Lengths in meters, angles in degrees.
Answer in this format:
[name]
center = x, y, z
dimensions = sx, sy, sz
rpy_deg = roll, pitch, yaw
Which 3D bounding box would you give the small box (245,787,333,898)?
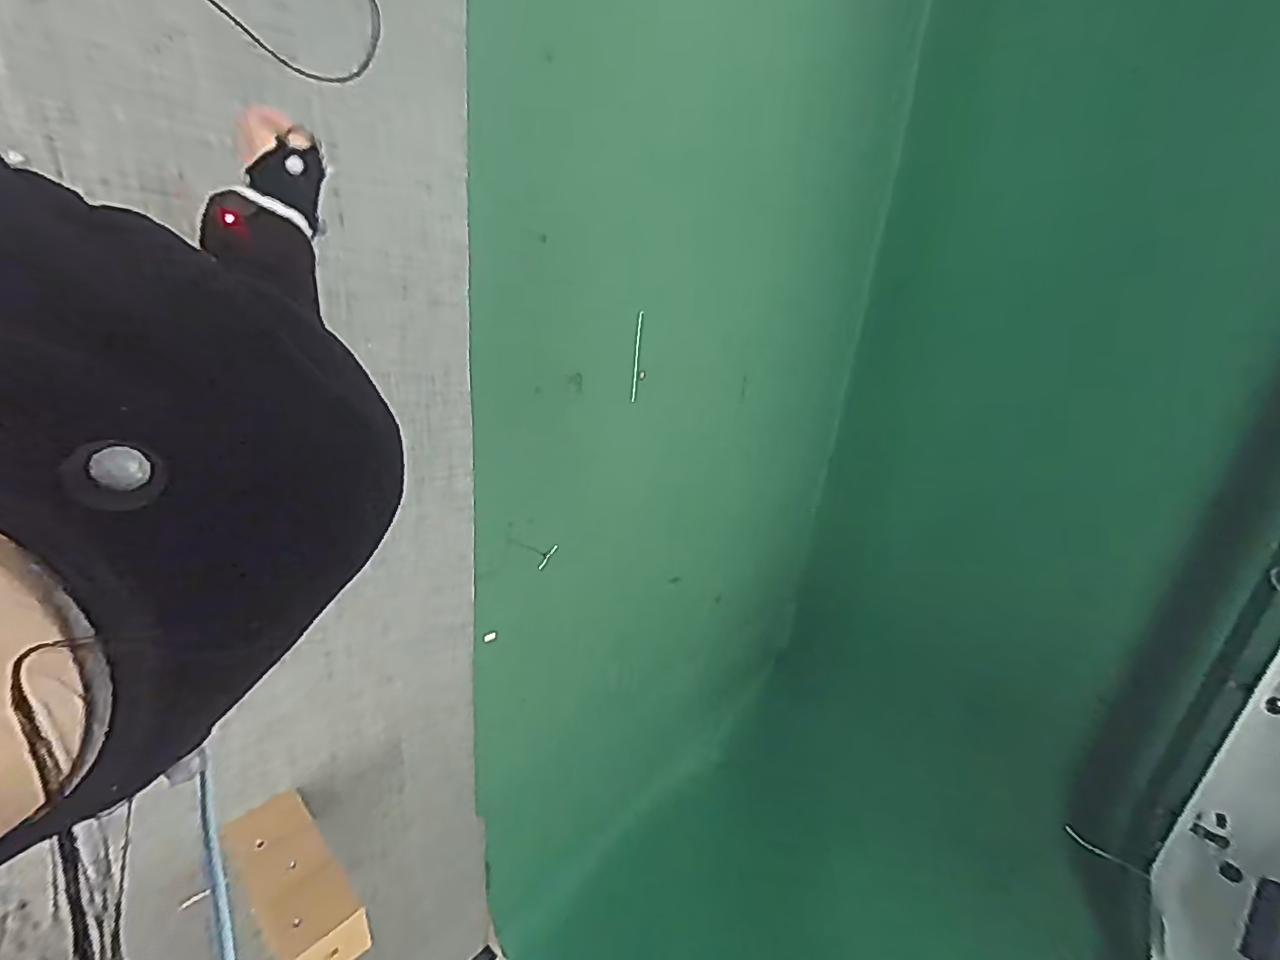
[small box]
center = -1.046, 1.066, 1.605
dimensions = 0.179, 0.176, 0.168
rpy_deg = -18, 120, -46
